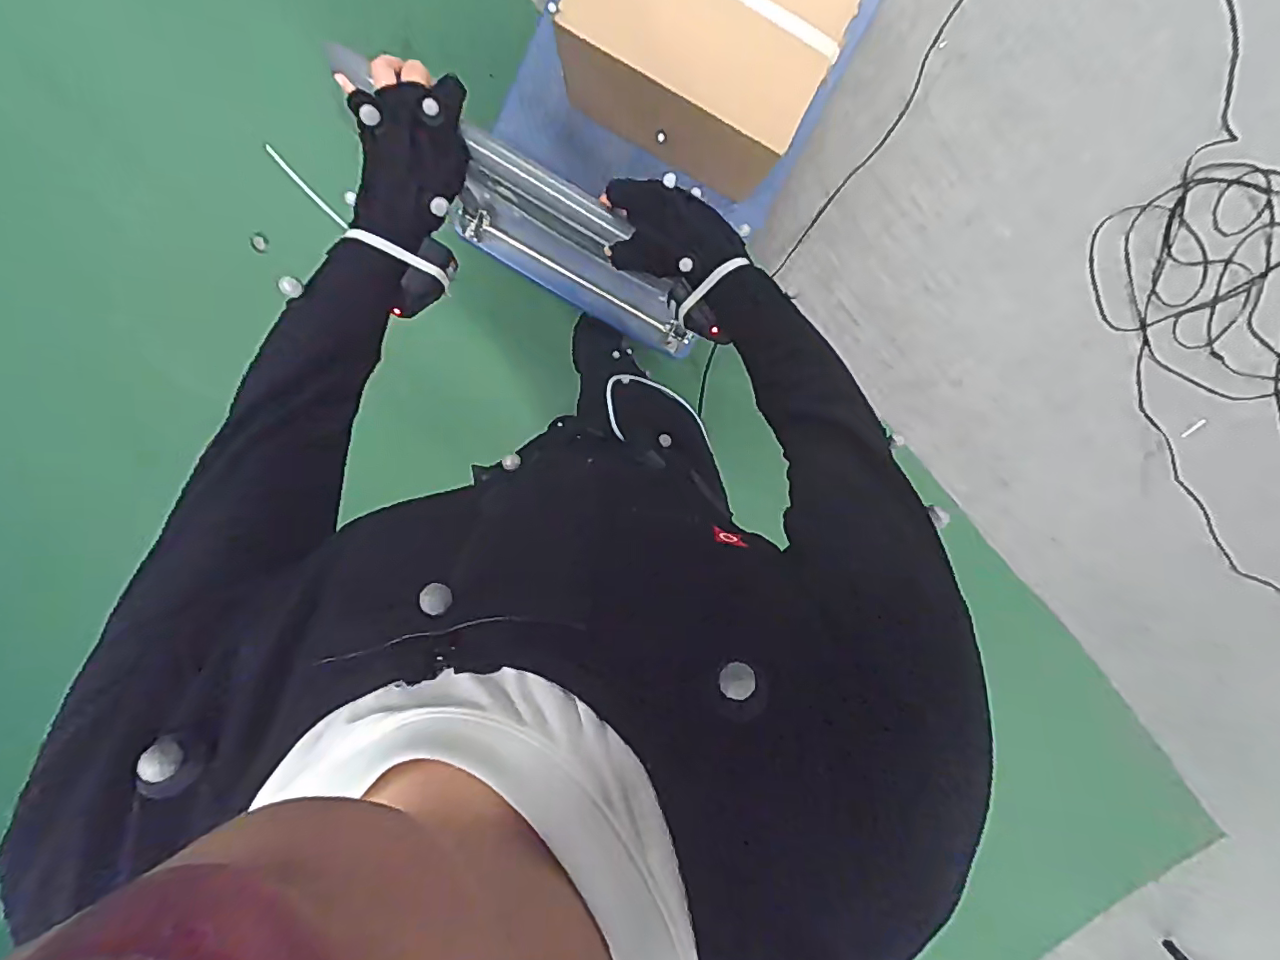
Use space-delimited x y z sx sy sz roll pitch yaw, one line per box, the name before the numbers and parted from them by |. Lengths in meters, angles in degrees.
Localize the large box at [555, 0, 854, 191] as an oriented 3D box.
large box | 0.111 -0.781 0.947 0.408 0.320 0.320 25 102 -8
